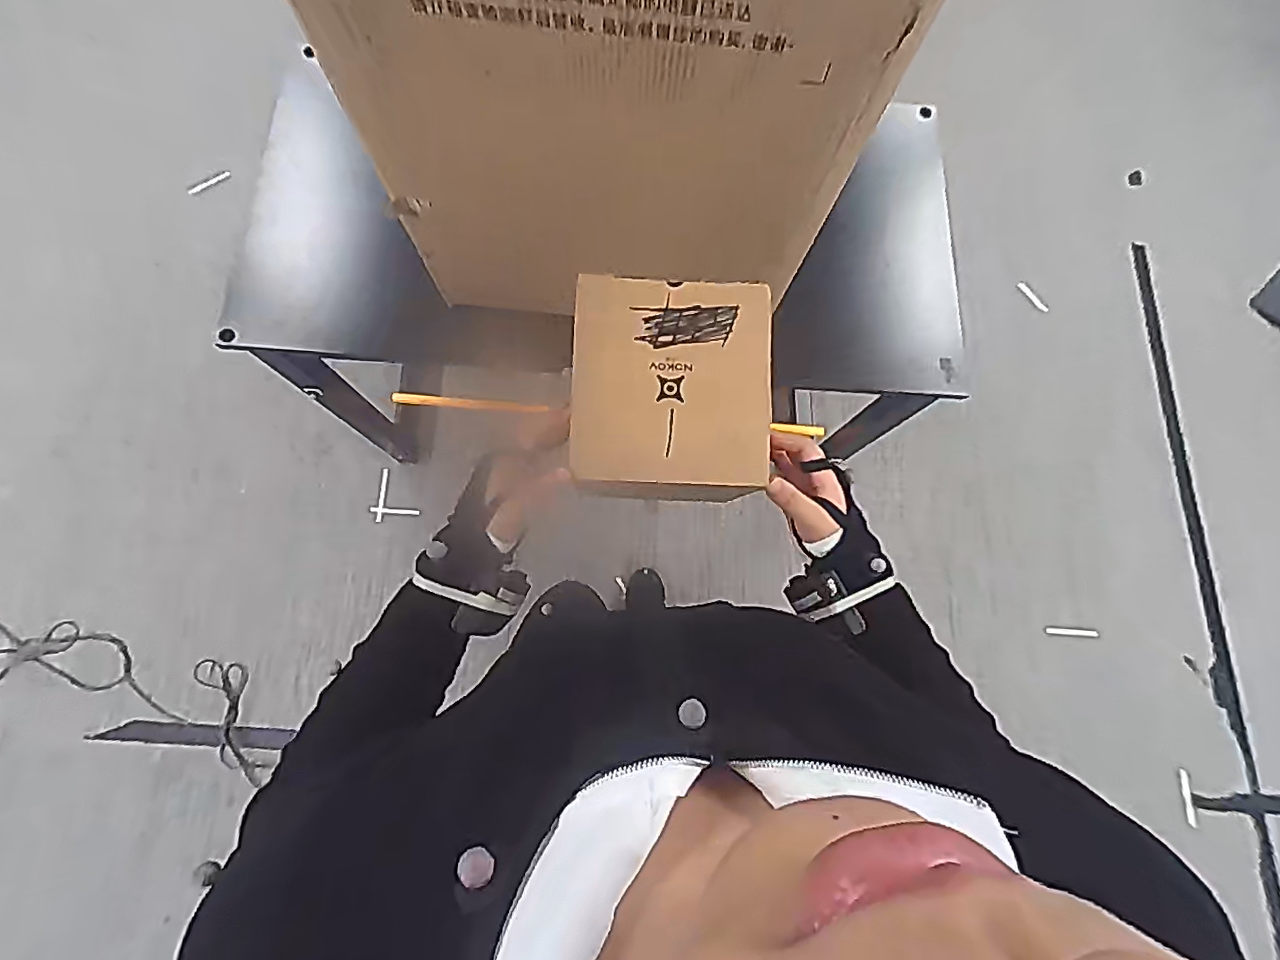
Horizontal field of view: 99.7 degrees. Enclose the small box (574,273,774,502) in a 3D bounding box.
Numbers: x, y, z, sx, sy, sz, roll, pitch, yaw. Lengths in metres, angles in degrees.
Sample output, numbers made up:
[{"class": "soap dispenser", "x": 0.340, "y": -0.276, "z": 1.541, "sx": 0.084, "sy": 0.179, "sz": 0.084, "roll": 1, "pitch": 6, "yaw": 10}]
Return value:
[{"class": "small box", "x": 0.026, "y": -0.076, "z": 0.527, "sx": 0.168, "sy": 0.176, "sz": 0.179, "roll": 2, "pitch": 83, "yaw": -2}]
